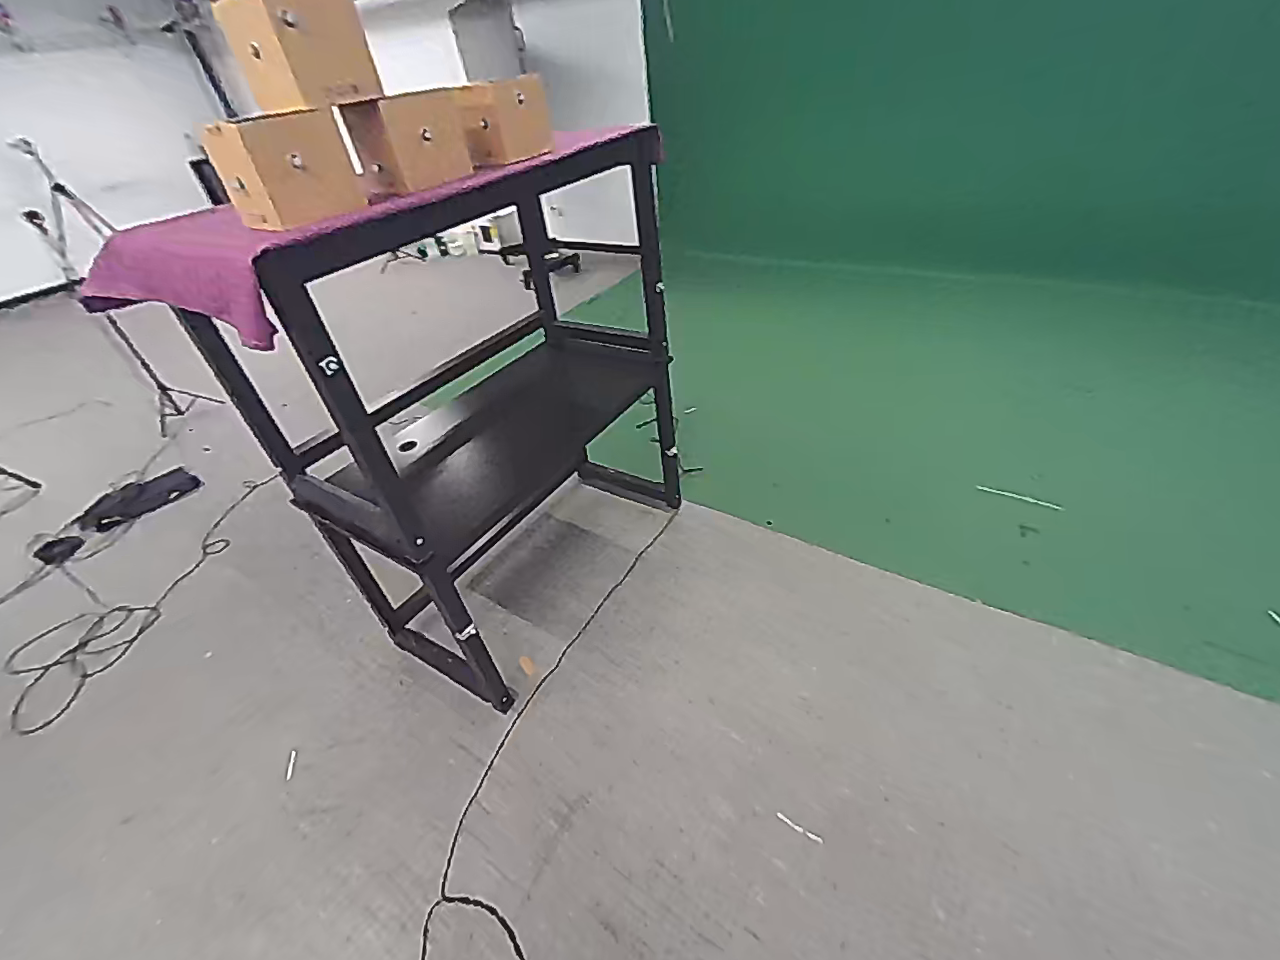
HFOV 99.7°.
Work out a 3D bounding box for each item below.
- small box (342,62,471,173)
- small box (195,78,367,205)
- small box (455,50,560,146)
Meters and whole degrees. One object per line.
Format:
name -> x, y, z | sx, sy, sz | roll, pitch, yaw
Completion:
small box -> -0.481, -0.769, 1.147 | 0.168, 0.176, 0.179 | 24, 49, 32
small box -> -0.638, -0.610, 0.978 | 0.168, 0.176, 0.179 | 23, 47, 31
small box -> -0.316, -0.920, 1.310 | 0.168, 0.176, 0.179 | 21, 47, 30
